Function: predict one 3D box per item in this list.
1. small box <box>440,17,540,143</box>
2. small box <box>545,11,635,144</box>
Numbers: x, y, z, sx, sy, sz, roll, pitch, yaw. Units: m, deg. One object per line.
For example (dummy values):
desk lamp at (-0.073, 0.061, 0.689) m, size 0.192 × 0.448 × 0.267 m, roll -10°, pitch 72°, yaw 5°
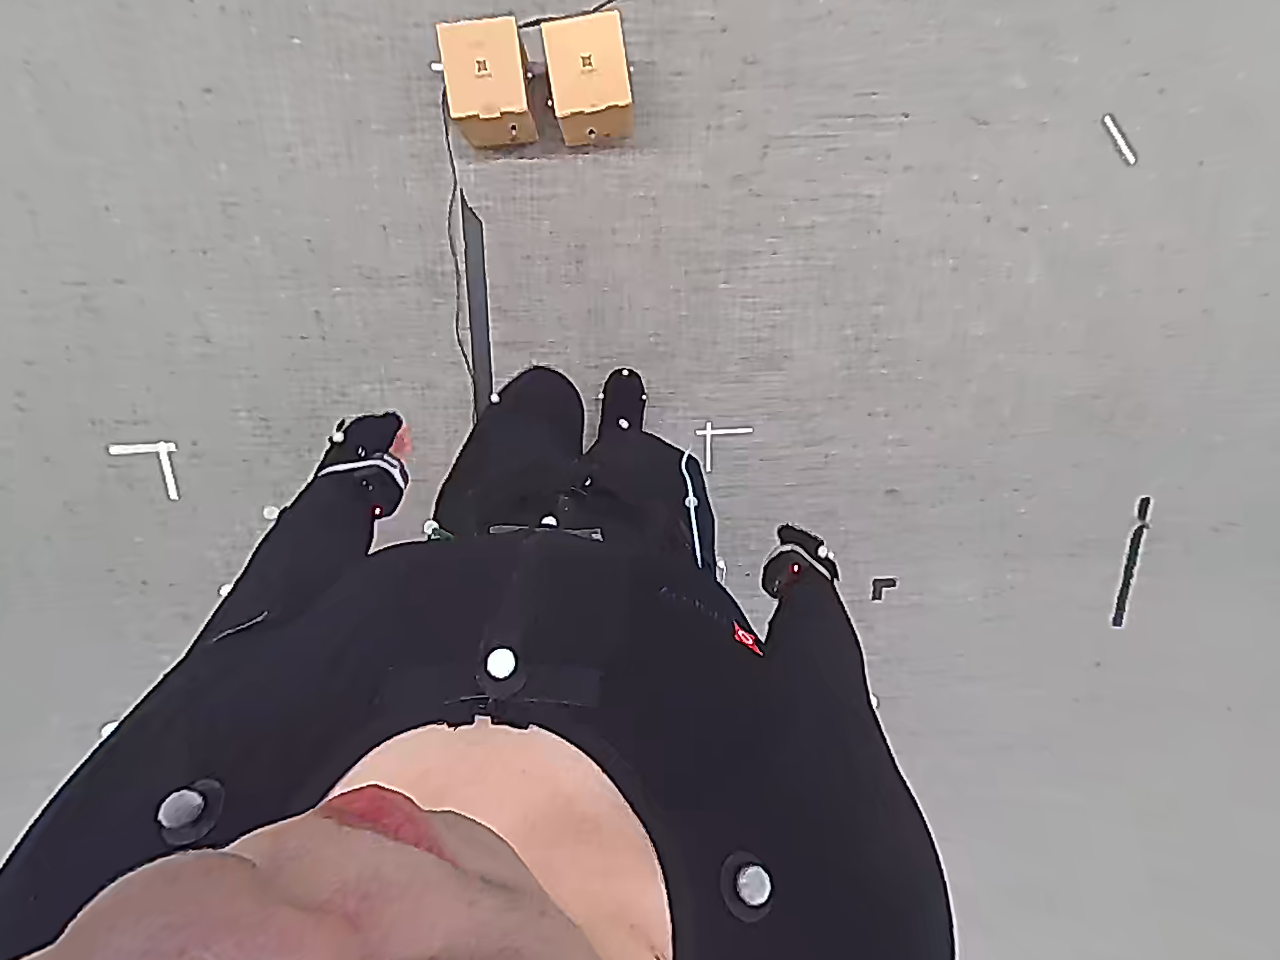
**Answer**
small box at (-0.324, -0.876, 1.204) m, size 0.168 × 0.176 × 0.179 m, roll -6°, pitch 102°, yaw 0°
small box at (-0.107, -0.887, 1.206) m, size 0.168 × 0.176 × 0.179 m, roll -9°, pitch 103°, yaw 1°
